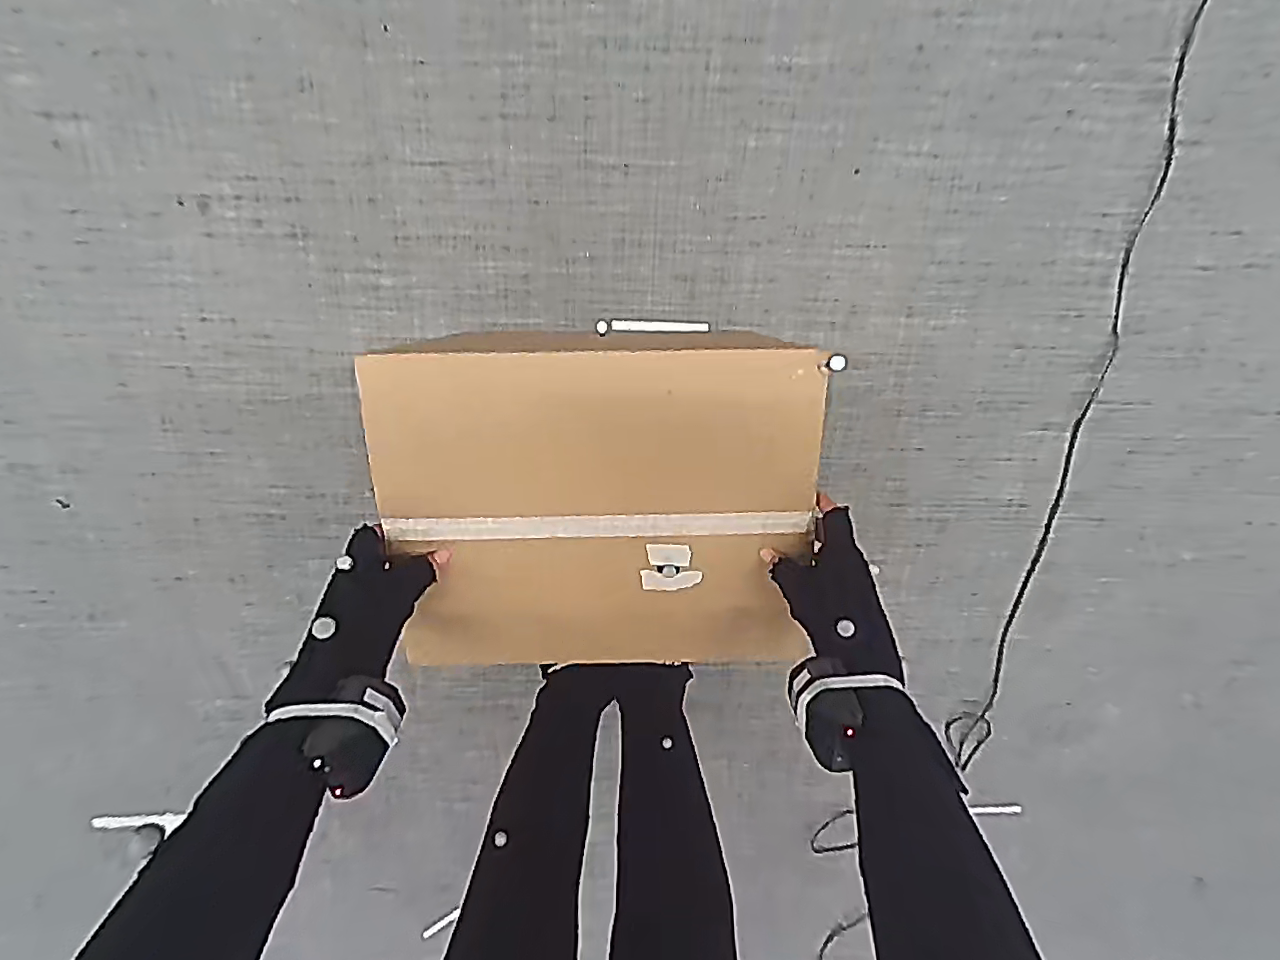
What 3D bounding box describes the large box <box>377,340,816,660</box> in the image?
[{"bbox_3d":[-0.040,-0.005,0.671,0.408,0.320,0.320,-1,109,-1],"label":"large box"}]
